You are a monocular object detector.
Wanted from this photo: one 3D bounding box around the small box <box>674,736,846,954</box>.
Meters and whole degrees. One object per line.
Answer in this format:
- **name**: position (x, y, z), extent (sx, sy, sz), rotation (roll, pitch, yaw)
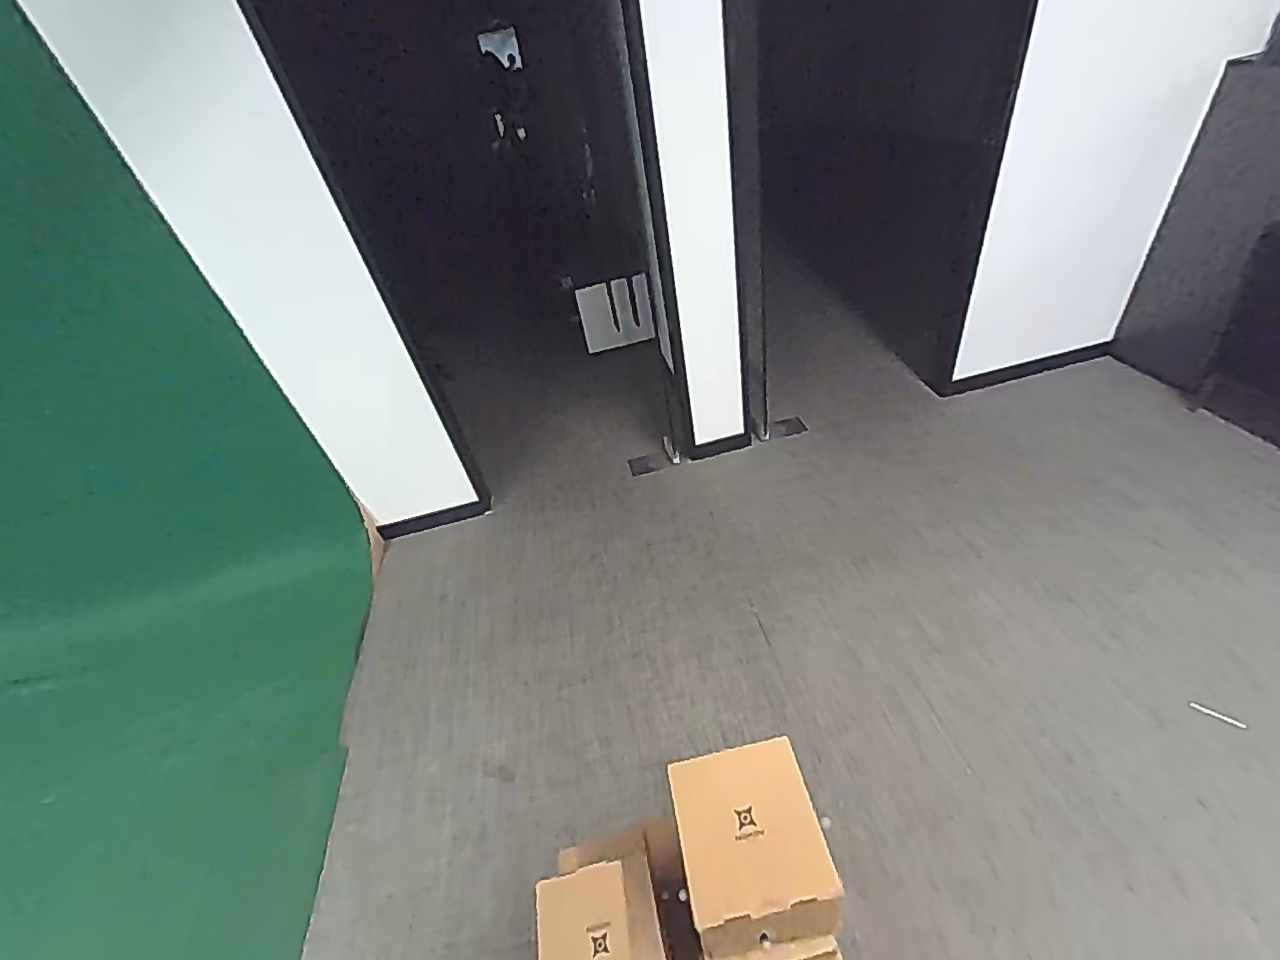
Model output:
- **small box**: position (0.148, 0.470, 0.700), extent (0.168, 0.176, 0.179), rotation (-14, 39, 1)
